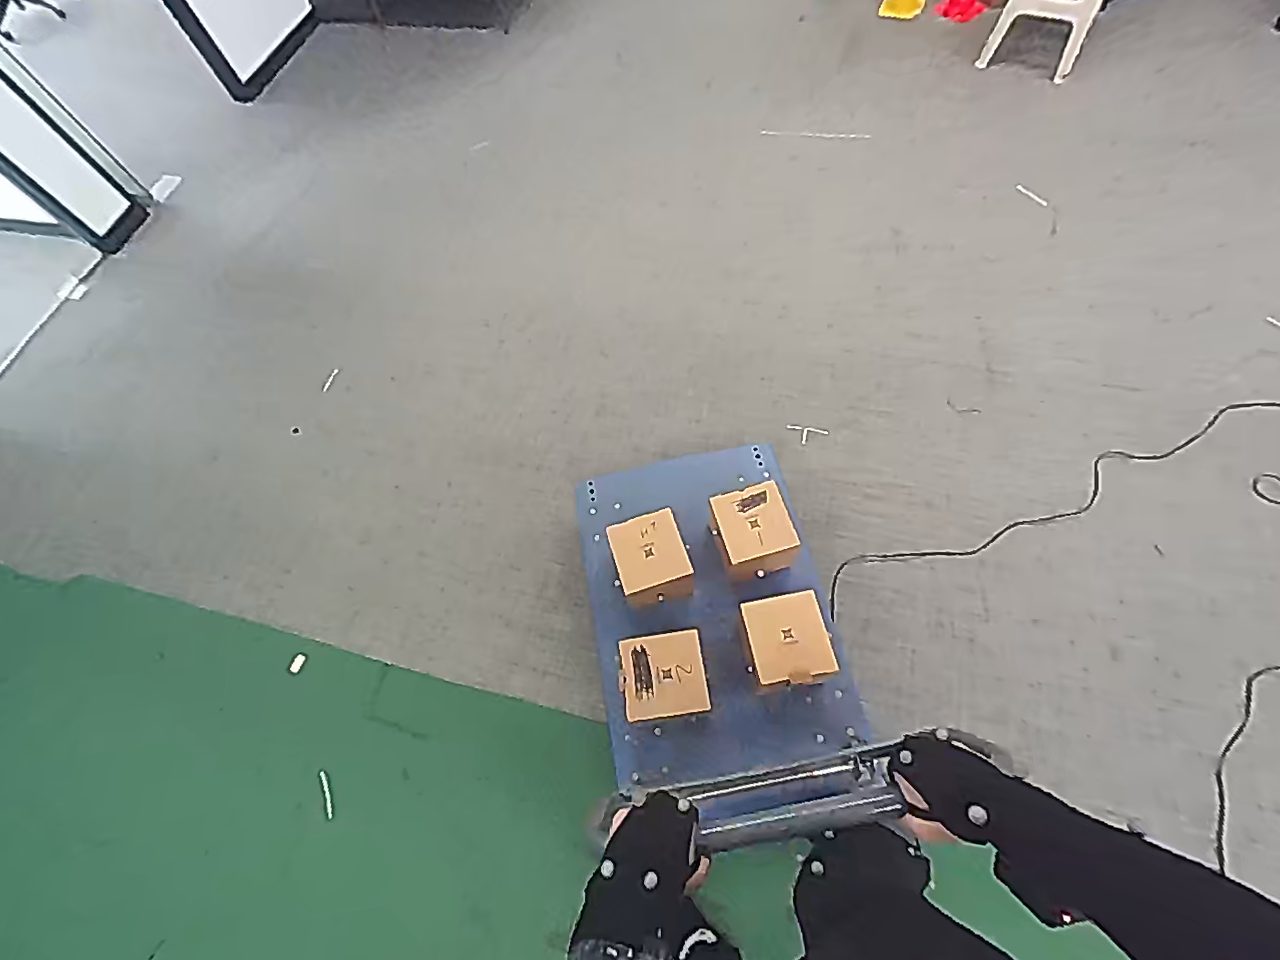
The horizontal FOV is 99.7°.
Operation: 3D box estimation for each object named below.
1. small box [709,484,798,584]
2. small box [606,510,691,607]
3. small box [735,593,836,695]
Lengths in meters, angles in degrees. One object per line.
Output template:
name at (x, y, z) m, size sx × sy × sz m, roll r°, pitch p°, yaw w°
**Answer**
small box at (0.272, 0.138, 1.339) m, size 0.168 × 0.176 × 0.179 m, roll -14°, pitch 64°, yaw -1°
small box at (0.025, 0.202, 1.332) m, size 0.168 × 0.176 × 0.179 m, roll -17°, pitch 63°, yaw -3°
small box at (0.316, 0.373, 1.217) m, size 0.168 × 0.176 × 0.179 m, roll -11°, pitch 63°, yaw 0°
